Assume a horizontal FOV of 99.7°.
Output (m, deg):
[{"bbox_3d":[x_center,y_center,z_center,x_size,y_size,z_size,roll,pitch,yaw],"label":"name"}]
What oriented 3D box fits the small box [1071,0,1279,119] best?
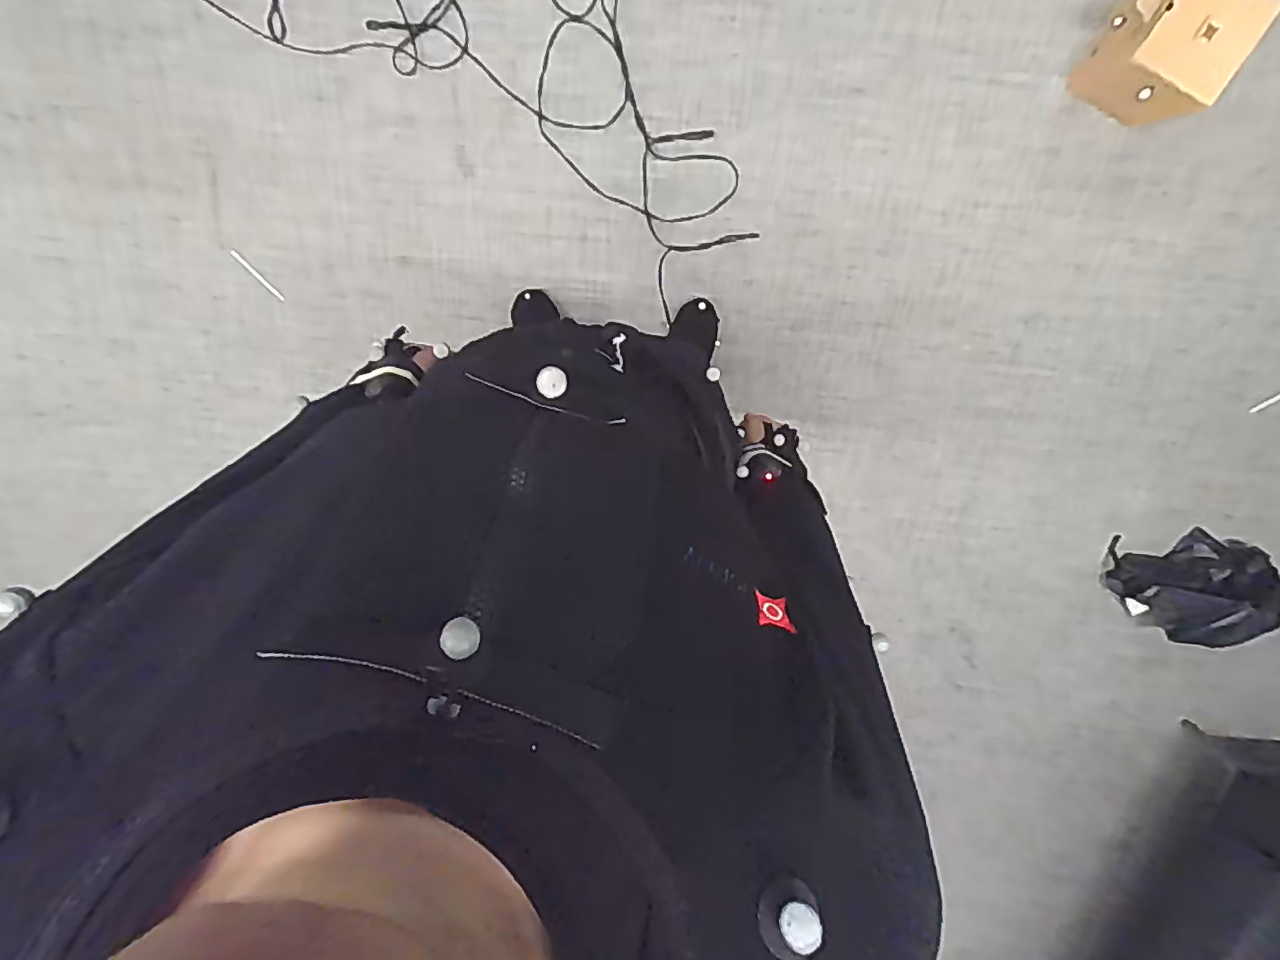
[{"bbox_3d":[0.957,-0.790,0.982,0.179,0.176,0.168,24,110,-7],"label":"small box"}]
